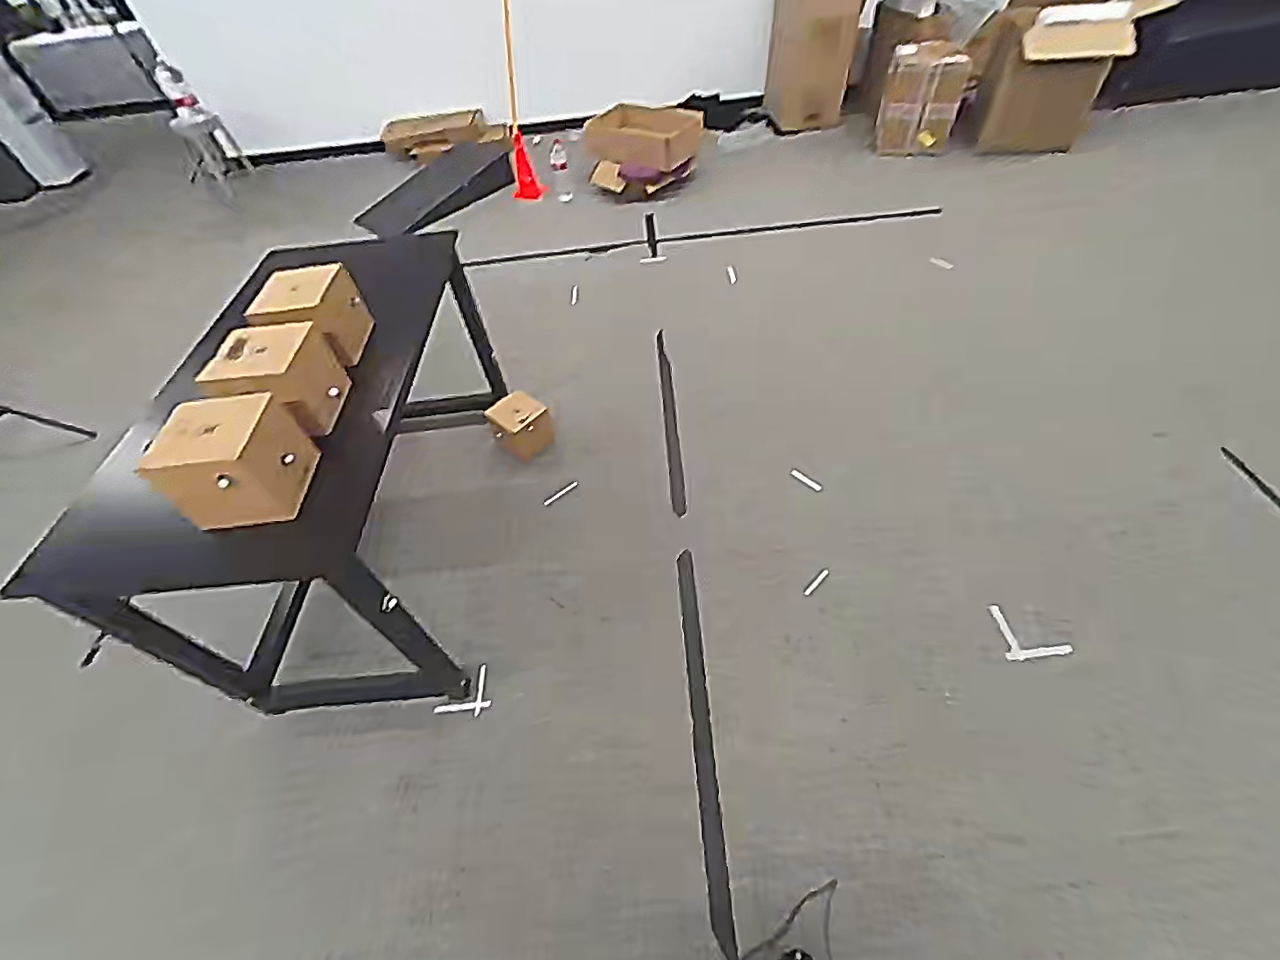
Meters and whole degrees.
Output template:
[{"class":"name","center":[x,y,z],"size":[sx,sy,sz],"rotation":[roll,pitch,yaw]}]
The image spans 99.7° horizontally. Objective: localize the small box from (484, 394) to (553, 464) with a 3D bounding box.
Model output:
[{"class":"small box","center":[-0.455,-0.190,2.042],"size":[0.179,0.176,0.168],"rotation":[31,60,28]}]

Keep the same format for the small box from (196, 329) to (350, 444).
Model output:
[{"class":"small box","center":[-0.750,-0.190,1.128],"size":[0.179,0.176,0.168],"rotation":[-5,50,1]}]

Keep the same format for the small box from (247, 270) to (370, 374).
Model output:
[{"class":"small box","center":[-0.768,-0.366,1.278],"size":[0.168,0.176,0.179],"rotation":[-7,51,2]}]
